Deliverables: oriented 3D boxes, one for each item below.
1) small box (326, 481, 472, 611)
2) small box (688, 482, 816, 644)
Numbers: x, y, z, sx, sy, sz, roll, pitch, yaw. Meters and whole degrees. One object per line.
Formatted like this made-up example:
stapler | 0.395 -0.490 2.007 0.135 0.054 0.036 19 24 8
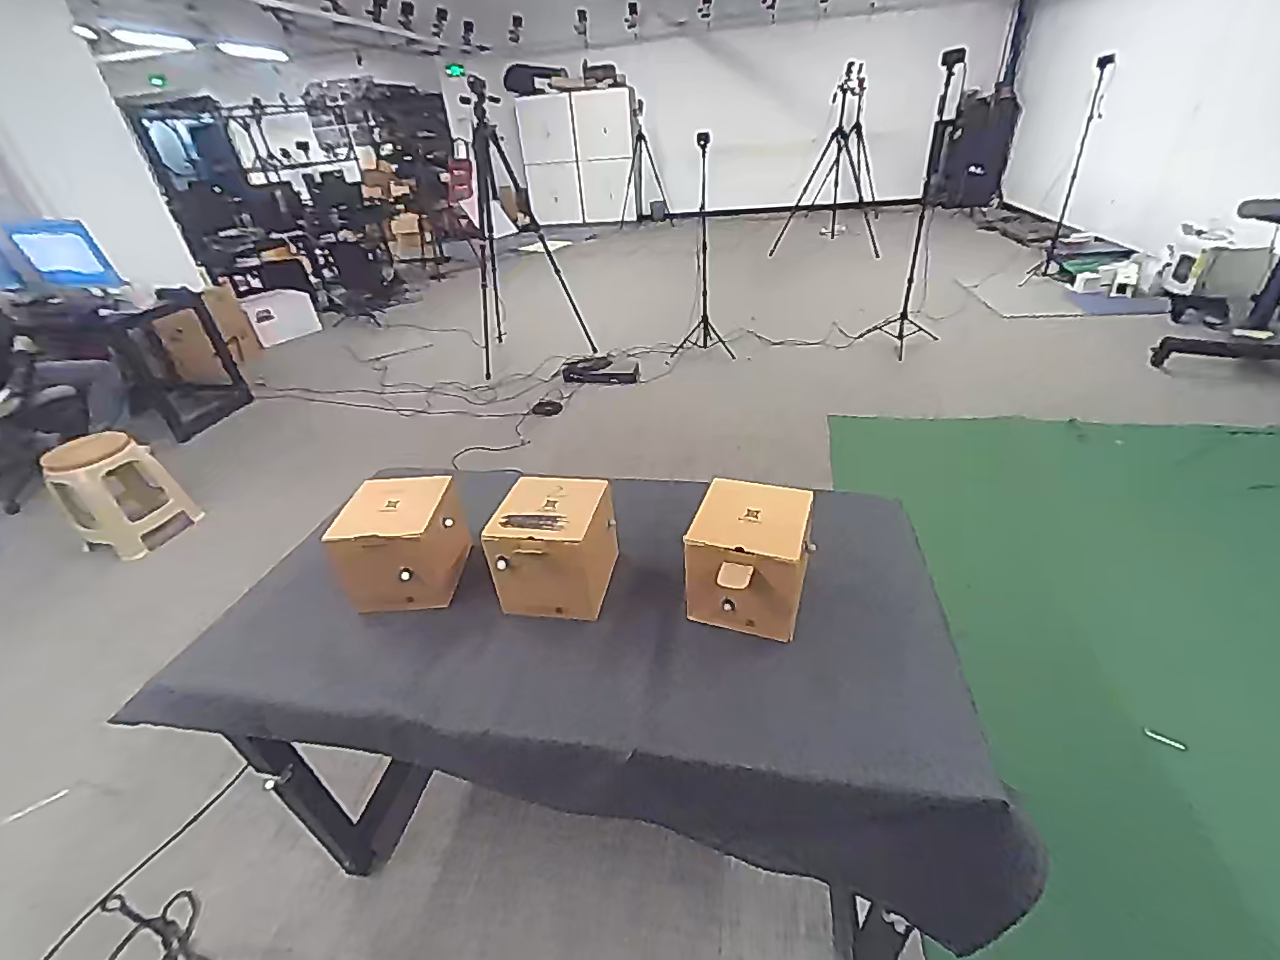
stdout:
small box | -0.415 0.121 0.968 0.168 0.176 0.179 -3 32 1
small box | 0.180 0.128 0.870 0.168 0.176 0.179 9 36 20
